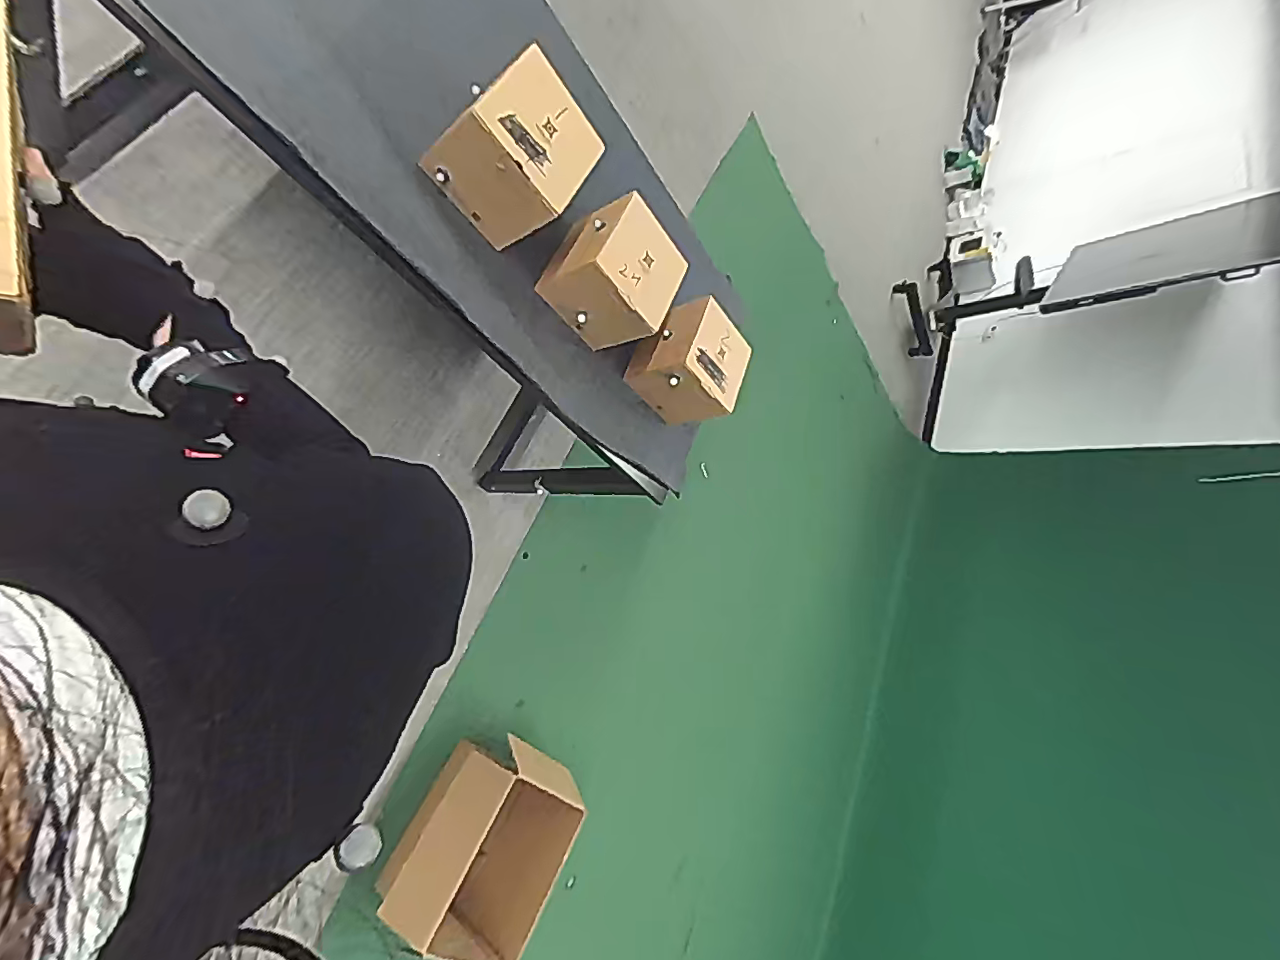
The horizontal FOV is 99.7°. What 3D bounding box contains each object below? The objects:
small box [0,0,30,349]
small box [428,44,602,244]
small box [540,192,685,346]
[{"bbox_3d":[-0.460,-0.181,0.293,0.168,0.176,0.179,-4,92,-48],"label":"small box"},{"bbox_3d":[-0.195,-0.499,0.830,0.168,0.176,0.179,44,59,-37],"label":"small box"},{"bbox_3d":[-0.051,-0.370,0.975,0.168,0.176,0.179,41,61,-37],"label":"small box"}]
